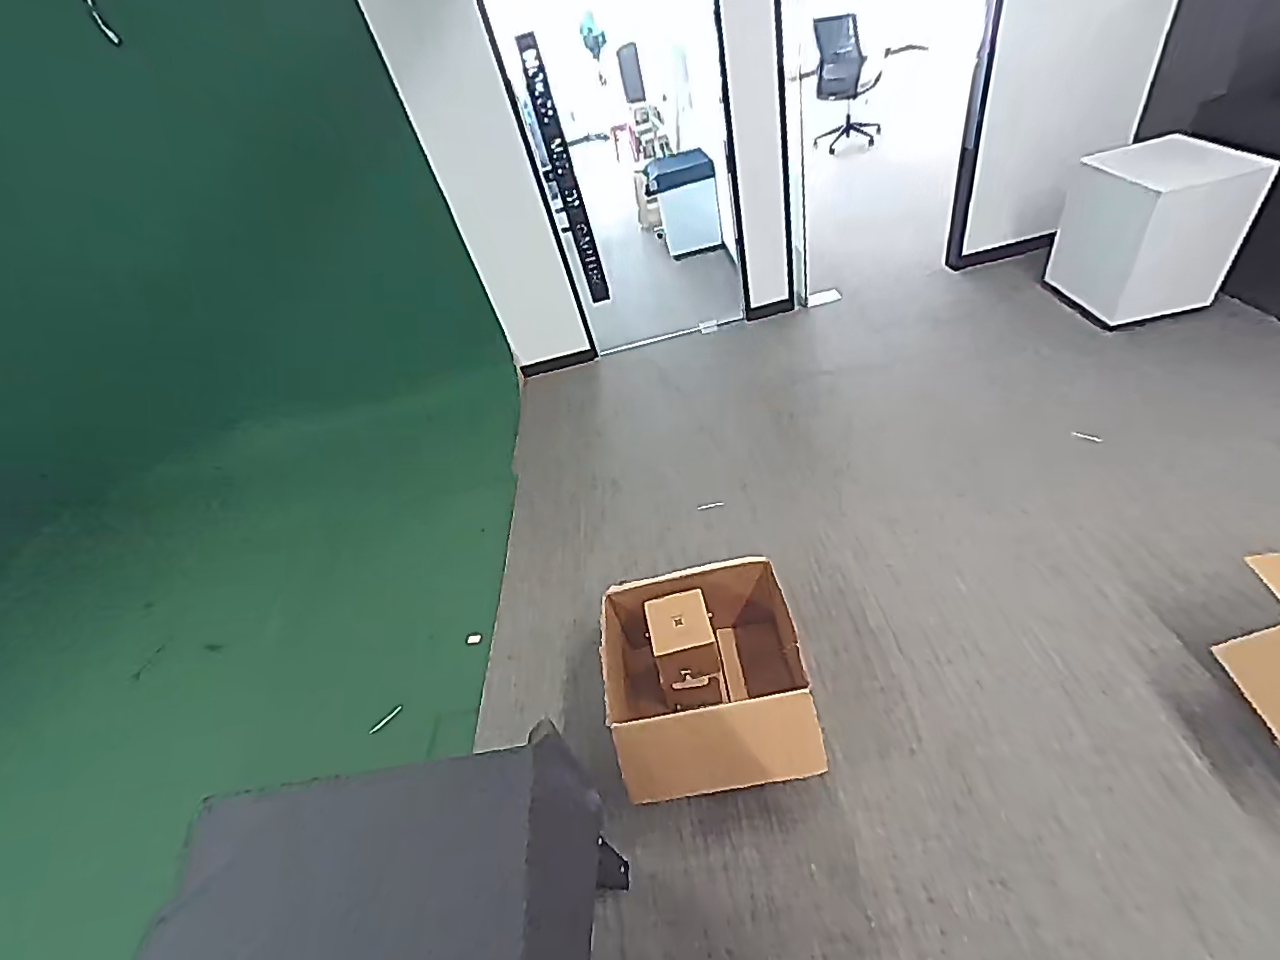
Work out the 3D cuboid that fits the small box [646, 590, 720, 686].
[{"bbox_3d":[0.119,0.438,1.495,0.168,0.176,0.179,-14,42,0],"label":"small box"}]
